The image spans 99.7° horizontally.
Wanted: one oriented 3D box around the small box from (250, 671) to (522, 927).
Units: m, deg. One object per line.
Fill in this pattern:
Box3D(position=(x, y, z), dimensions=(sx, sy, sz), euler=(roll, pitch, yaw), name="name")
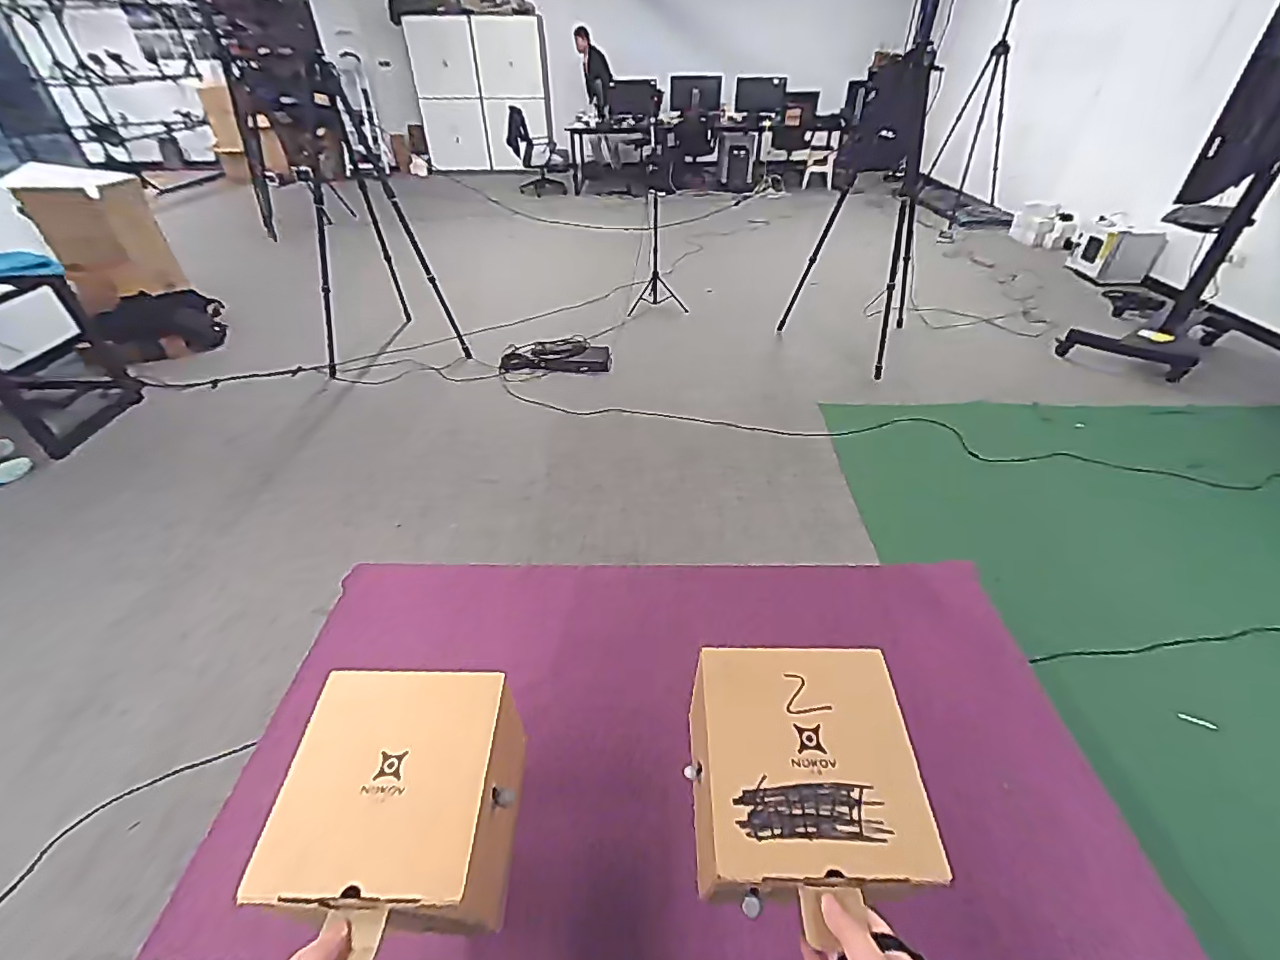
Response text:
Box3D(position=(-0.213, 0.305, 0.520), dimensions=(0.168, 0.176, 0.179), euler=(1, 46, -1), name="small box")
